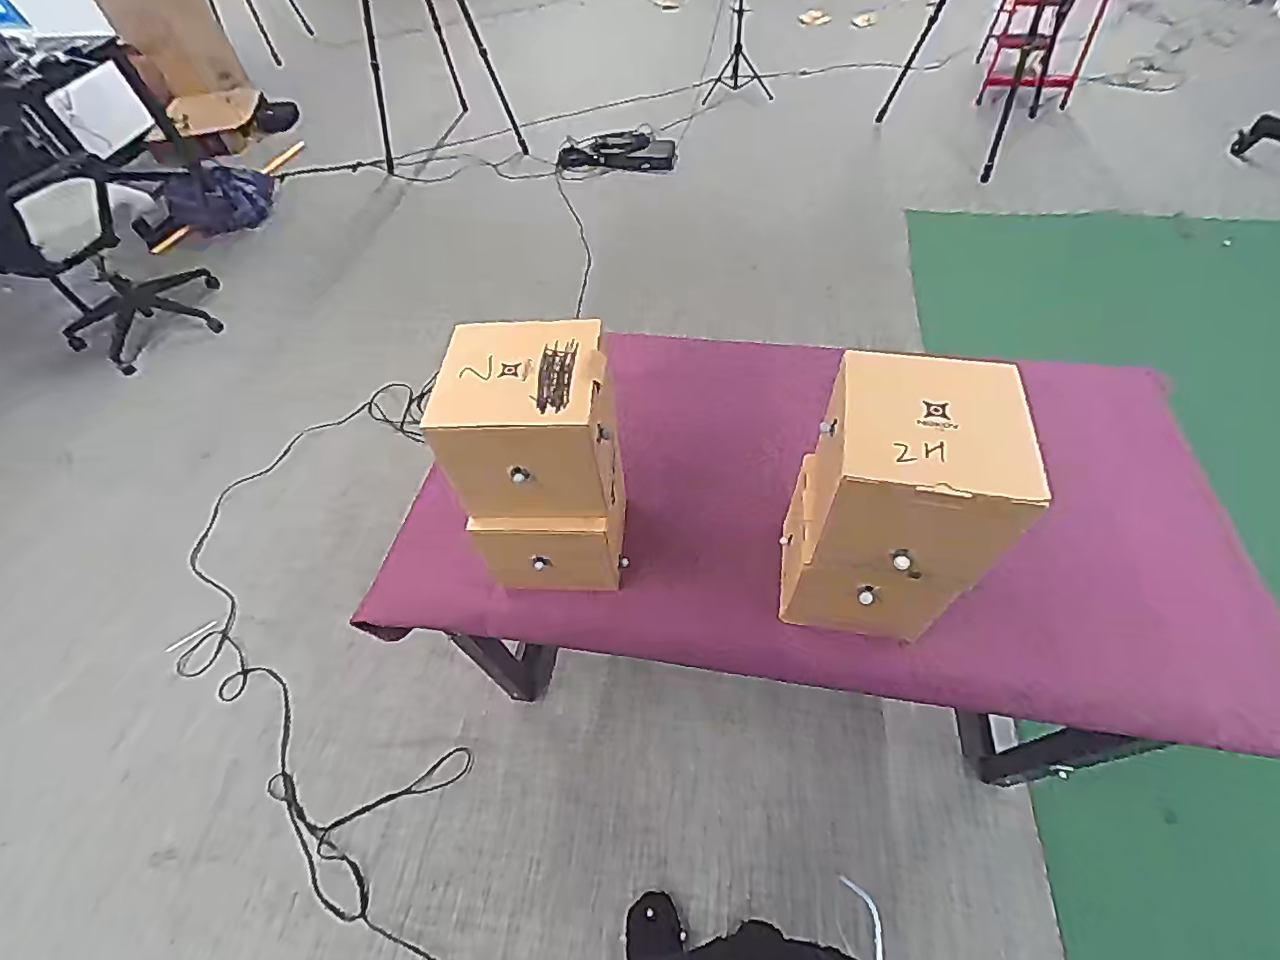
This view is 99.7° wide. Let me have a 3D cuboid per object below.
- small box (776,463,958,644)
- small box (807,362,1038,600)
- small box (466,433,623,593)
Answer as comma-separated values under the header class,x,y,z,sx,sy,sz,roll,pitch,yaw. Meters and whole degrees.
class,x,y,z,sx,sy,sz,roll,pitch,yaw
small box,0.284,0.102,0.712,0.179,0.176,0.168,7,54,10
small box,0.281,0.002,0.580,0.168,0.176,0.179,9,54,11
small box,-0.120,0.051,0.769,0.179,0.176,0.168,1,53,5
